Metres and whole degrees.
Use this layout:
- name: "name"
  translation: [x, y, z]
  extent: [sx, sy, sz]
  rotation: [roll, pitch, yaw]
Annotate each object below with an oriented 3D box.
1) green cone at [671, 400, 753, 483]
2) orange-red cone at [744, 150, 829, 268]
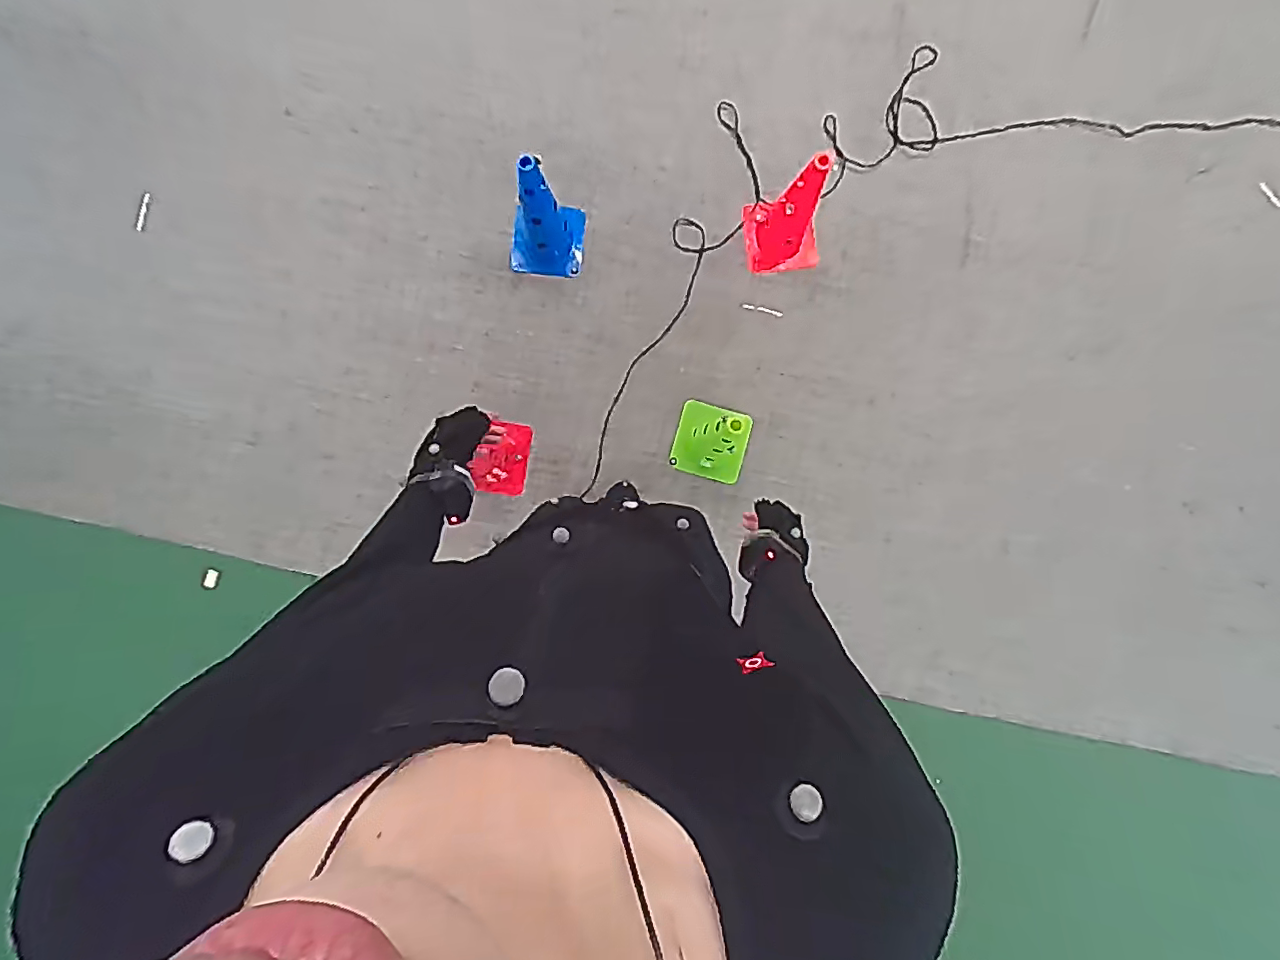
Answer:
- name: "green cone"
  translation: [0.207, -0.116, 1.339]
  extent: [0.200, 0.368, 0.202]
  rotation: [15, 87, -1]
- name: "orange-red cone"
  translation: [0.400, -0.706, 1.366]
  extent: [0.198, 0.360, 0.199]
  rotation: [-6, 90, -1]
